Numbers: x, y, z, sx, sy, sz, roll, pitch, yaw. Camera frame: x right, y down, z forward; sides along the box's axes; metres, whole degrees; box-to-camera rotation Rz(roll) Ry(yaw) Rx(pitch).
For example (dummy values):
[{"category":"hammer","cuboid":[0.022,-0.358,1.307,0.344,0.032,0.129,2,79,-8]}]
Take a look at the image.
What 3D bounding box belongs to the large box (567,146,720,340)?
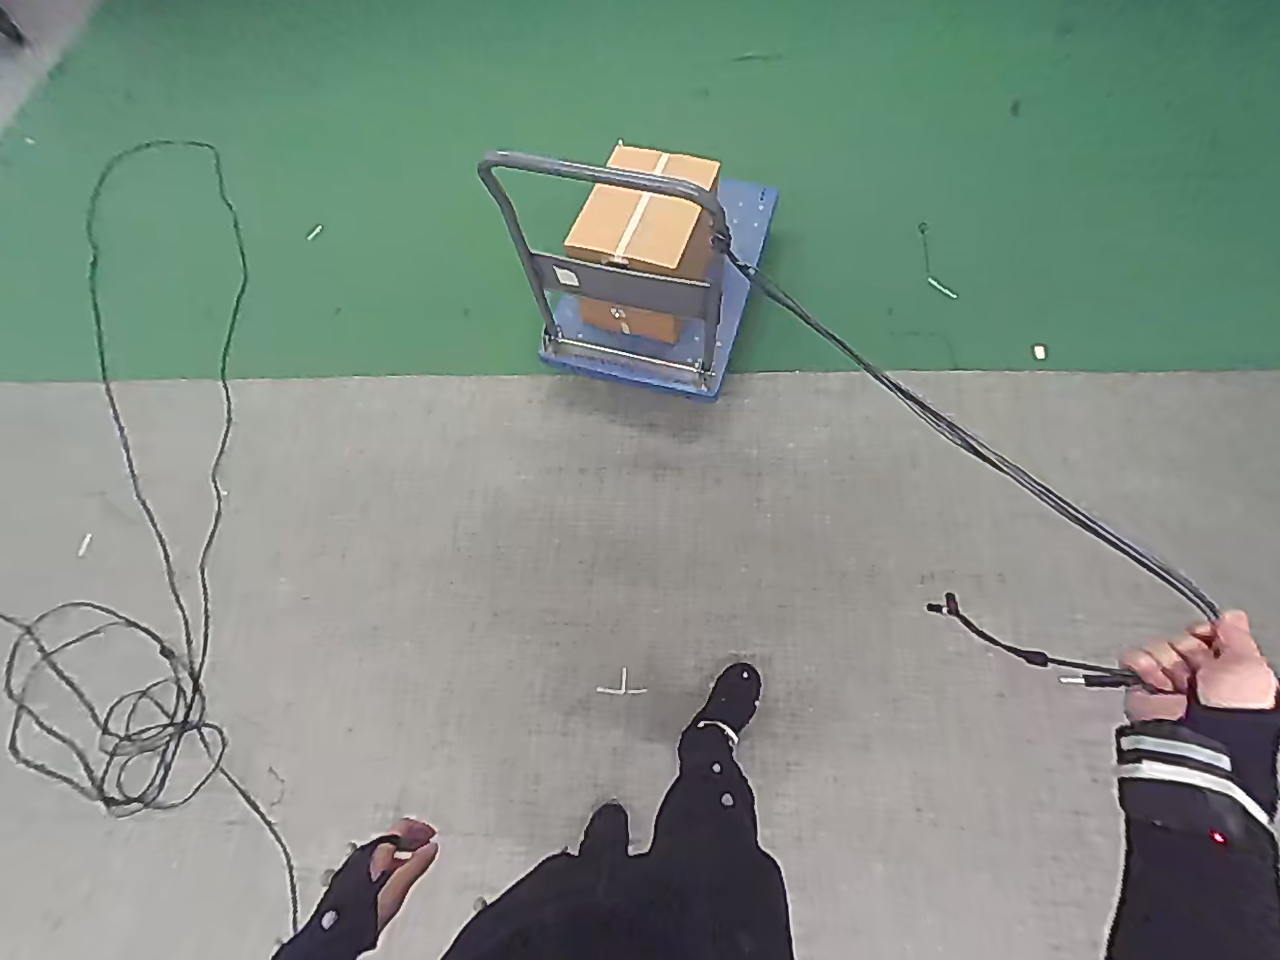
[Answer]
[{"category":"large box","cuboid":[0.026,-0.681,1.576,0.320,0.320,0.408,17,69,11]}]
